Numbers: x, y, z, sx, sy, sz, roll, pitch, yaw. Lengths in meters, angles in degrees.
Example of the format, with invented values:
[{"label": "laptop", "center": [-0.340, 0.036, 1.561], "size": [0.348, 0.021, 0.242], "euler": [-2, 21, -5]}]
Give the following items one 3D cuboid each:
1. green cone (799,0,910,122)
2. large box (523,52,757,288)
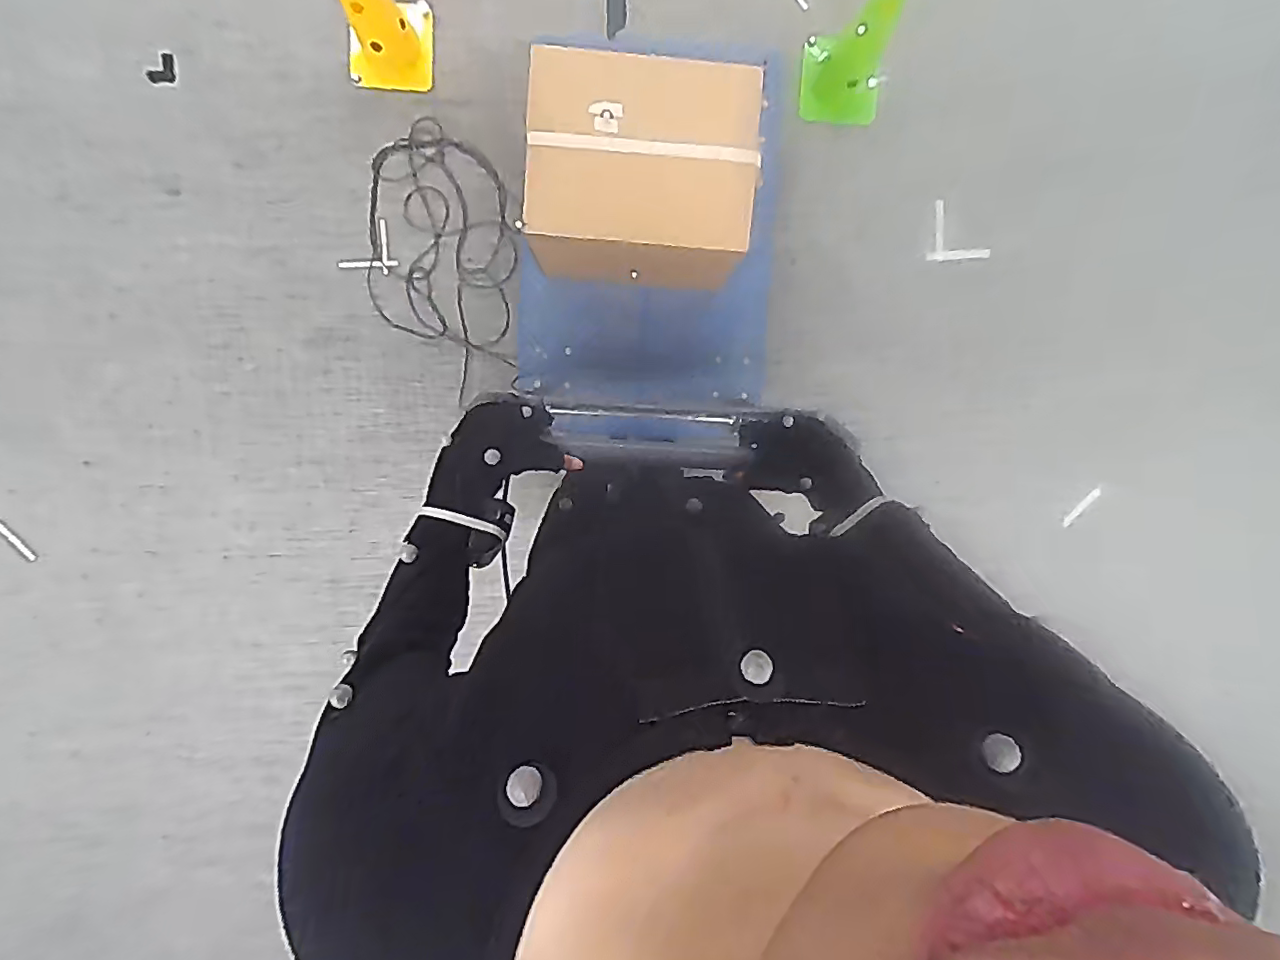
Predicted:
[{"label": "green cone", "center": [0.520, -1.015, 1.219], "size": [0.202, 0.368, 0.200], "euler": [3, 95, -4]}, {"label": "large box", "center": [-0.002, -0.589, 1.095], "size": [0.408, 0.320, 0.320], "euler": [4, 95, -2]}]
